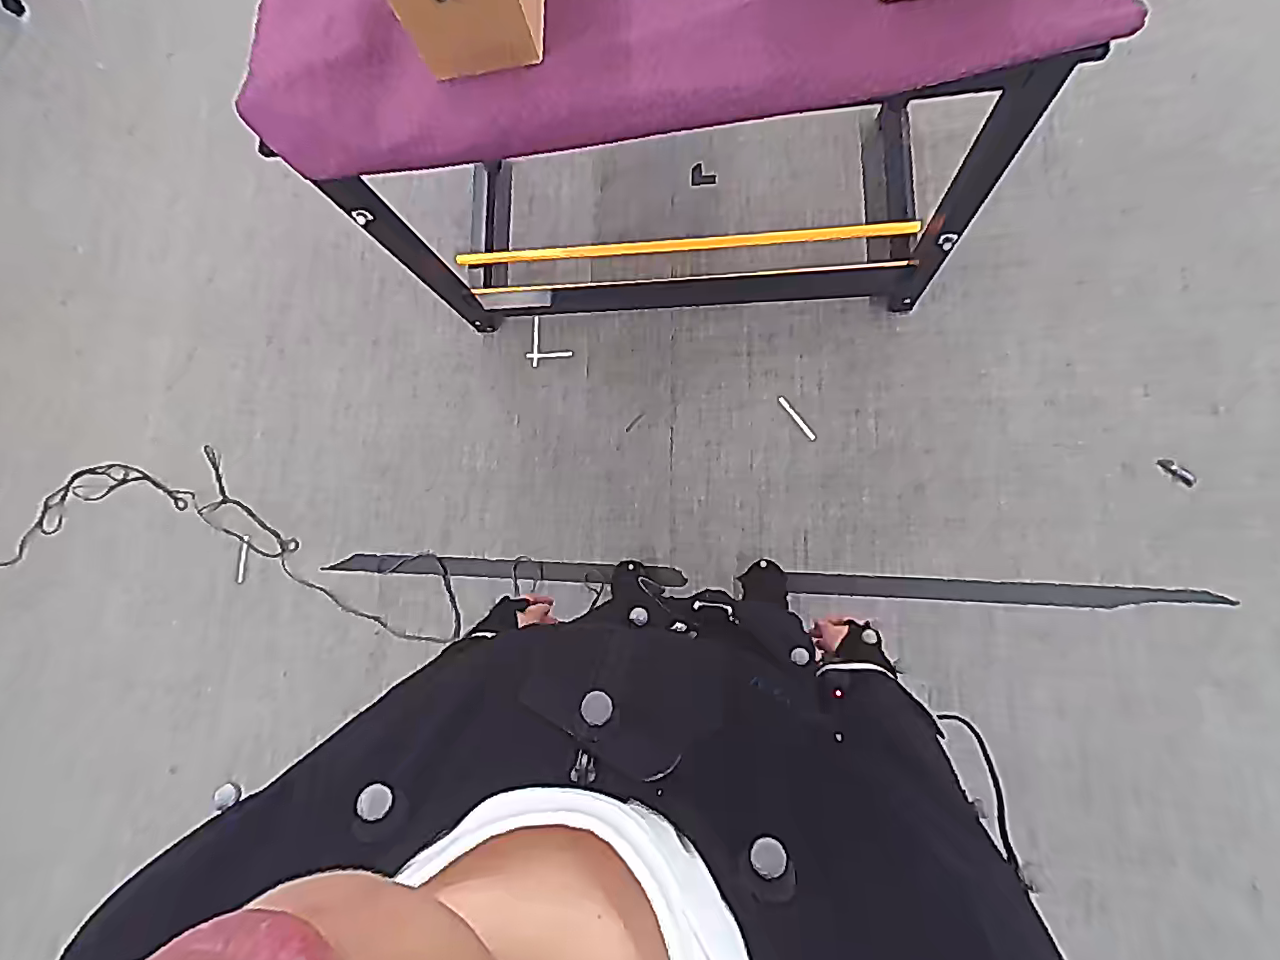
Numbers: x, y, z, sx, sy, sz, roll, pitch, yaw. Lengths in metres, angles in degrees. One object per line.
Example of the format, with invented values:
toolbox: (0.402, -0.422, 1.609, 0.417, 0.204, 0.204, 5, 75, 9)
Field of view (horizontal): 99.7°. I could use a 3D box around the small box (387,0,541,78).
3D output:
small box: (-0.240, -0.703, 0.745, 0.179, 0.176, 0.168, -2, 81, 9)
